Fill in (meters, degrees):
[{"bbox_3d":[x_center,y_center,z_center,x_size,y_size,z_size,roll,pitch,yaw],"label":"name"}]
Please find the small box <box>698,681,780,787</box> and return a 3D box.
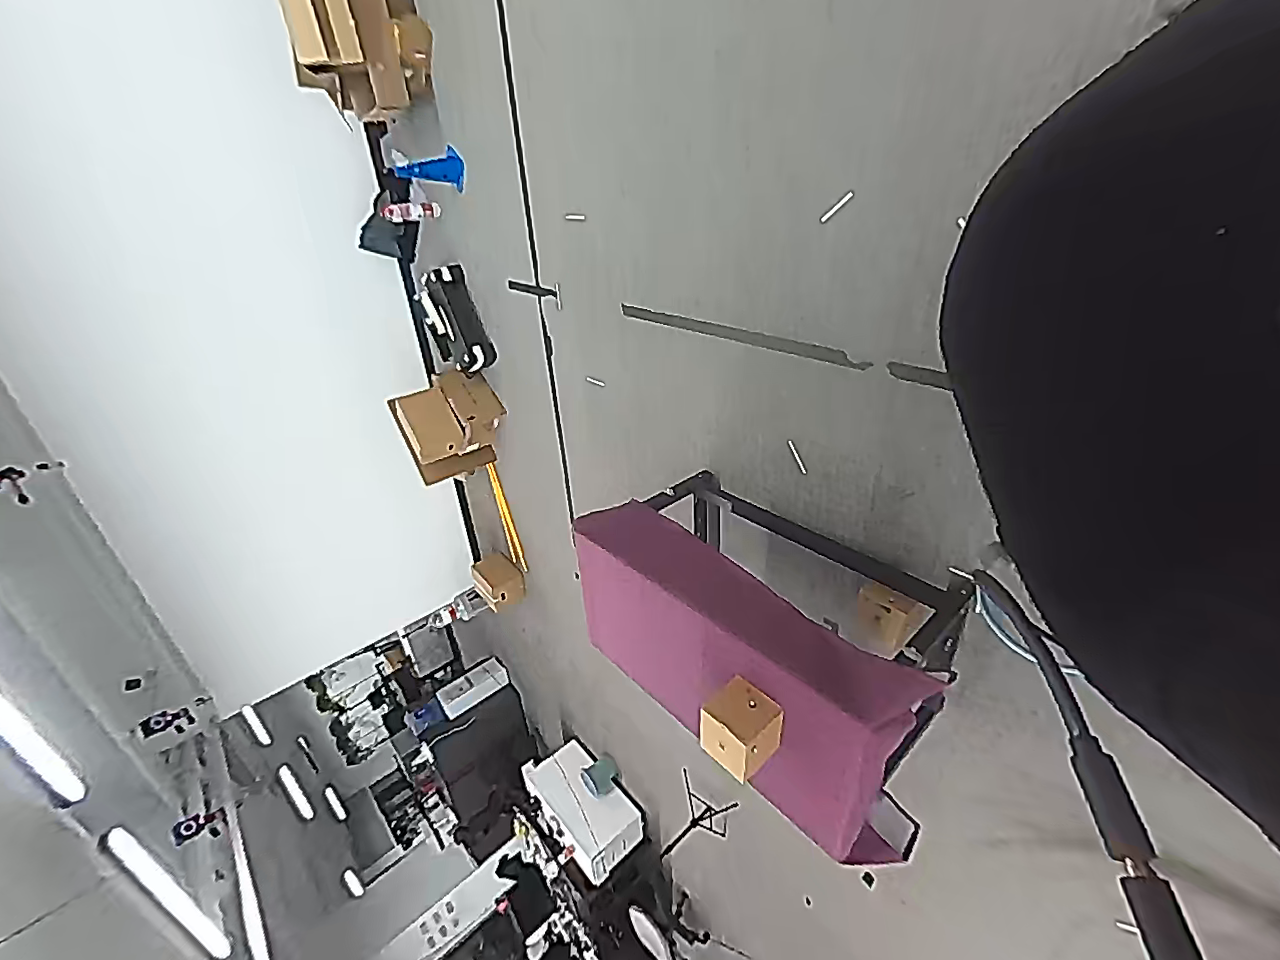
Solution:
[{"bbox_3d":[0.283,0.721,1.550,0.168,0.176,0.179,27,130,42],"label":"small box"}]
